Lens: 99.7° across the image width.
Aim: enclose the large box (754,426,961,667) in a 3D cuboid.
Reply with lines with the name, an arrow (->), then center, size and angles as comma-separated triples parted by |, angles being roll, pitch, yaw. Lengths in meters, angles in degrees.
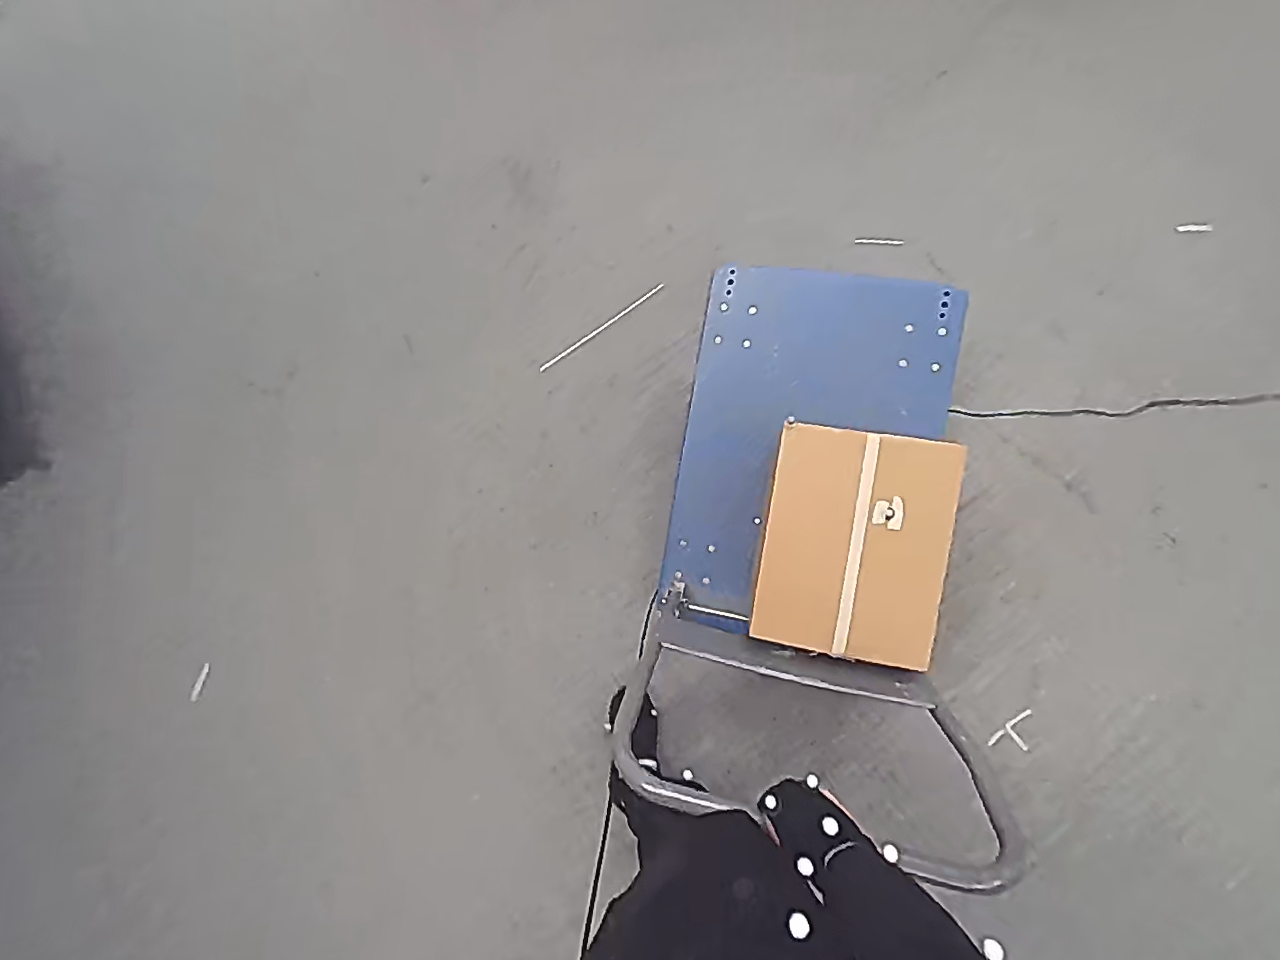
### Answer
large box -> 0.417, 0.118, 1.123 | 0.320, 0.320, 0.408 | 9, 91, 10
